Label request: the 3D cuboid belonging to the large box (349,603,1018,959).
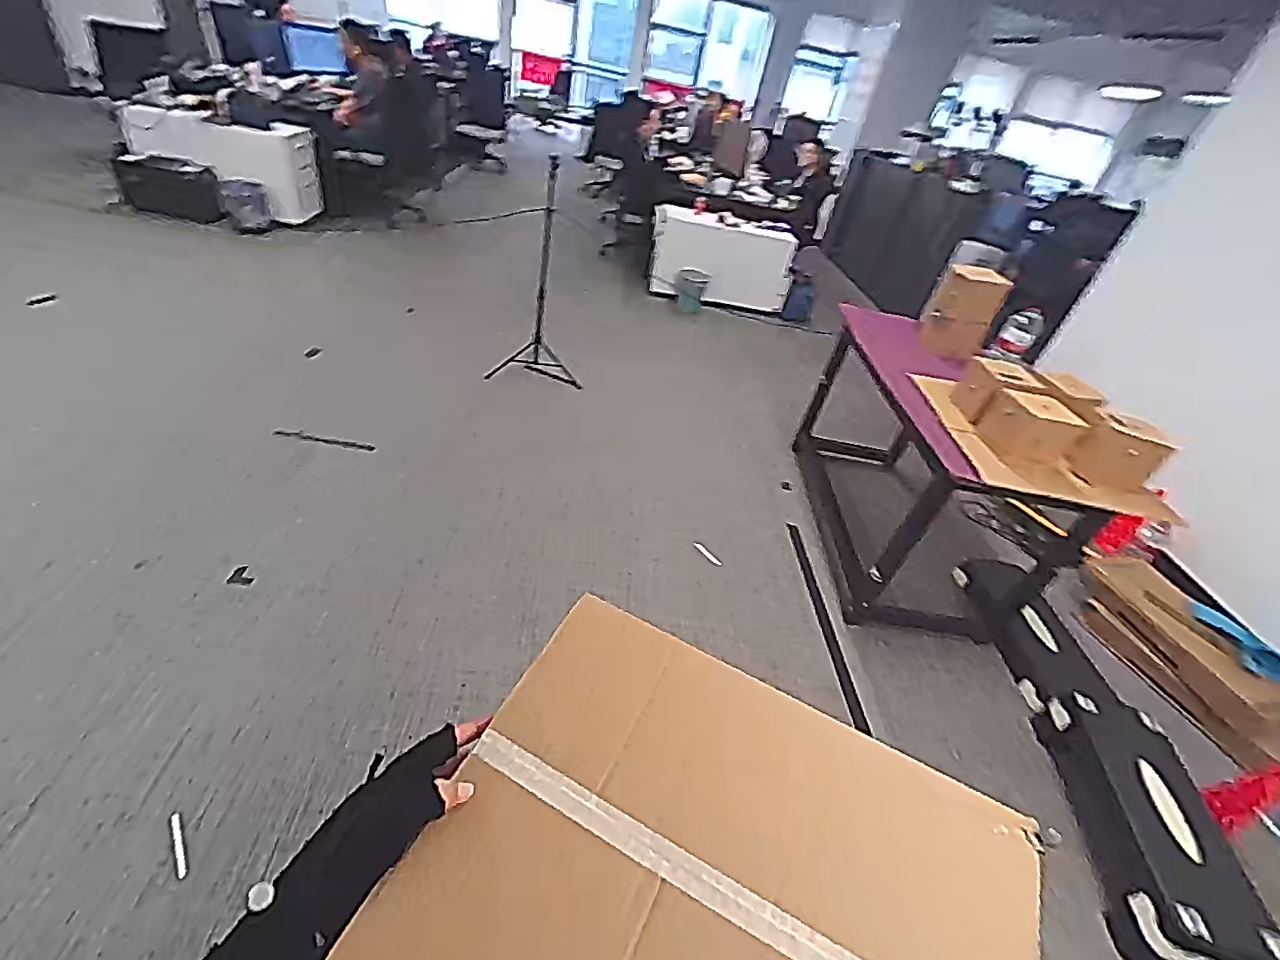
[{"bbox_3d":[0.042,0.388,0.494,0.408,0.320,0.320,23,49,16],"label":"large box"}]
